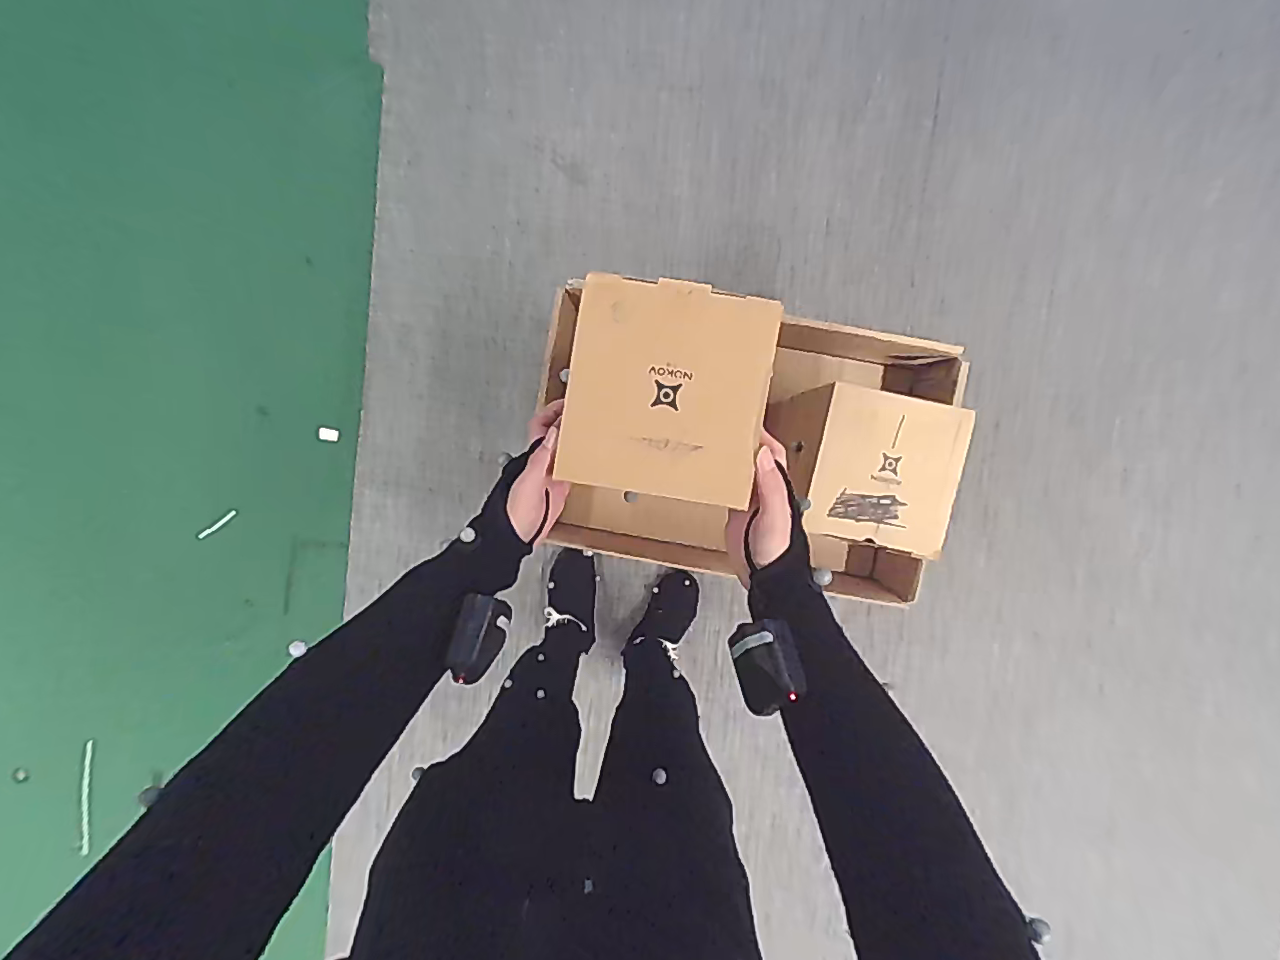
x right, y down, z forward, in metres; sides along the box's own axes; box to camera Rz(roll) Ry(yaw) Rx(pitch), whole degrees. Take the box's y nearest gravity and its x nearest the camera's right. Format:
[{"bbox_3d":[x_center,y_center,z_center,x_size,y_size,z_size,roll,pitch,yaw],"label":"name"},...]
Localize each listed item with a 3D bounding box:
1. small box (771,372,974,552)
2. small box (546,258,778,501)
[{"bbox_3d":[0.275,-0.024,0.682,0.168,0.176,0.179,12,93,0],"label":"small box"},{"bbox_3d":[0.018,-0.082,0.516,0.168,0.176,0.179,10,92,1],"label":"small box"}]
